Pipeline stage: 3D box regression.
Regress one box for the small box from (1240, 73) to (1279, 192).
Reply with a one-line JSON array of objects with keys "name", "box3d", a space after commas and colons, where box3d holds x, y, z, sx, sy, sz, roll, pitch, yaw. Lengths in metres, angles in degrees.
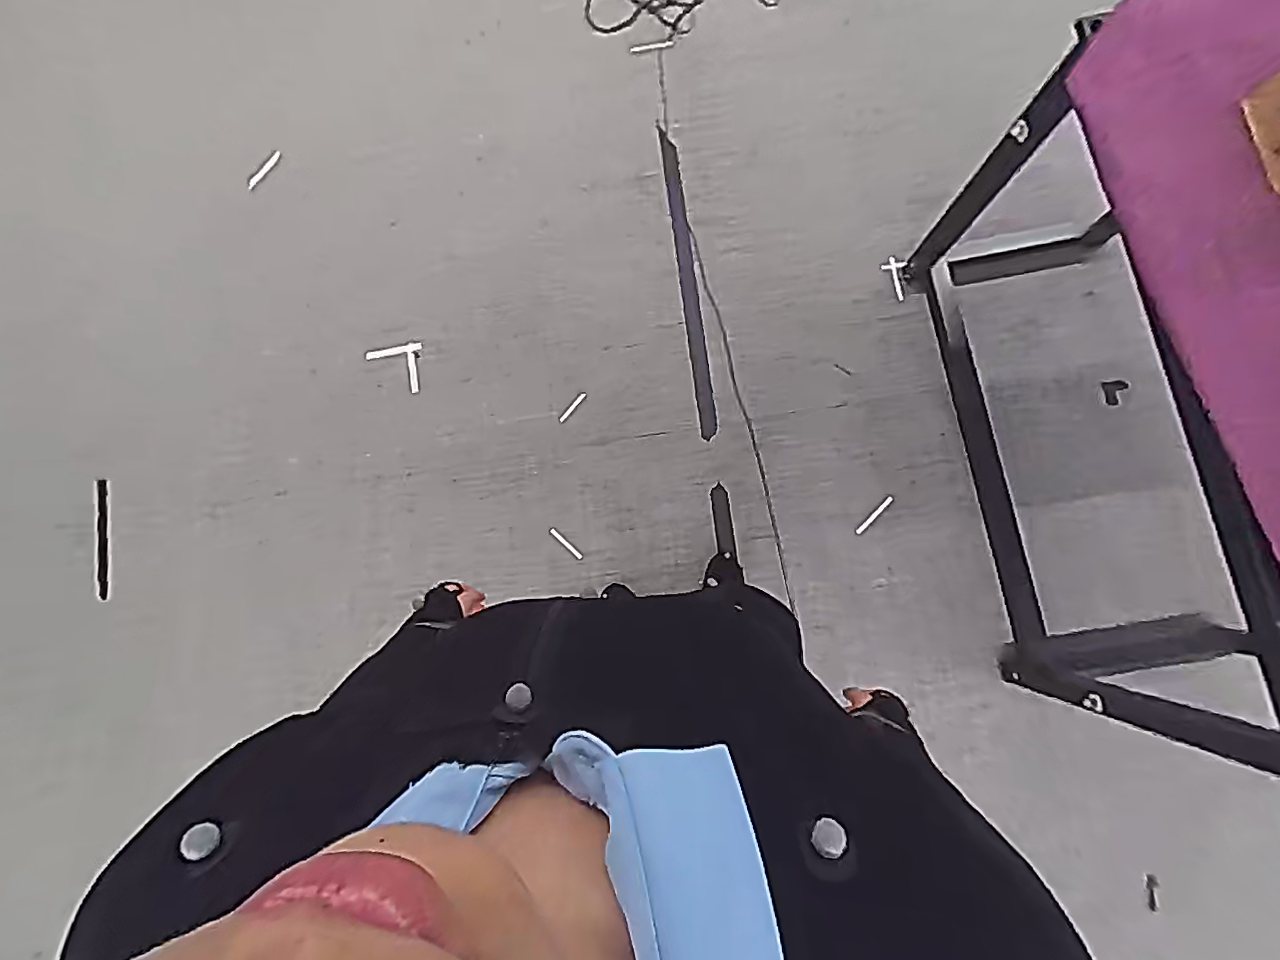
[{"name": "small box", "box3d": [1.013, -0.532, 0.739, 0.179, 0.176, 0.168, -11, 82, 3]}]
